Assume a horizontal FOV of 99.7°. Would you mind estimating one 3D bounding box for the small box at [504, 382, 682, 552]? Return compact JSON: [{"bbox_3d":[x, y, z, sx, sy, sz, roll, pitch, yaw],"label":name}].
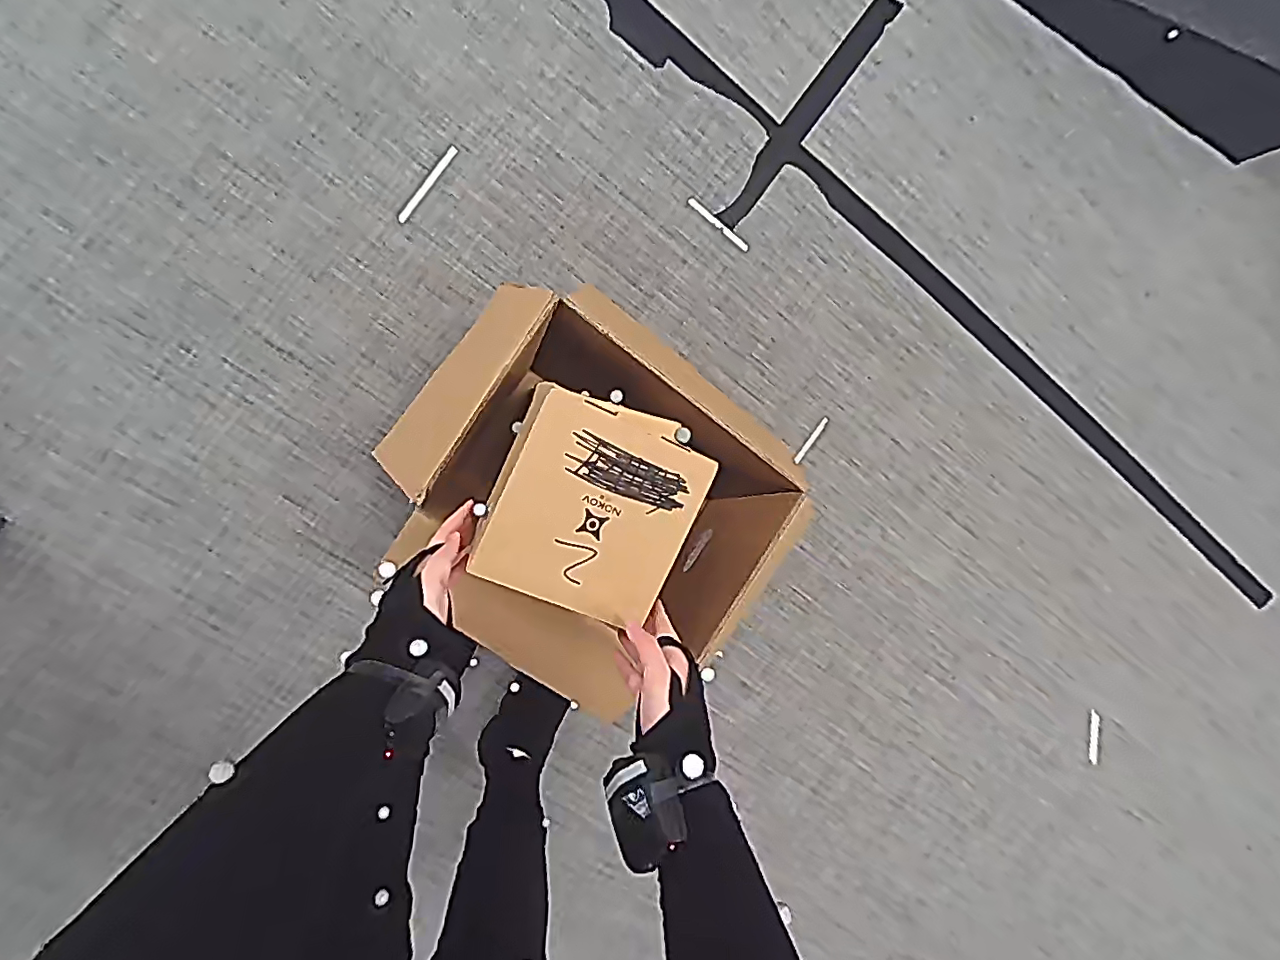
[{"bbox_3d":[-0.070,-0.022,0.706,0.179,0.176,0.168,14,96,-15],"label":"small box"}]
